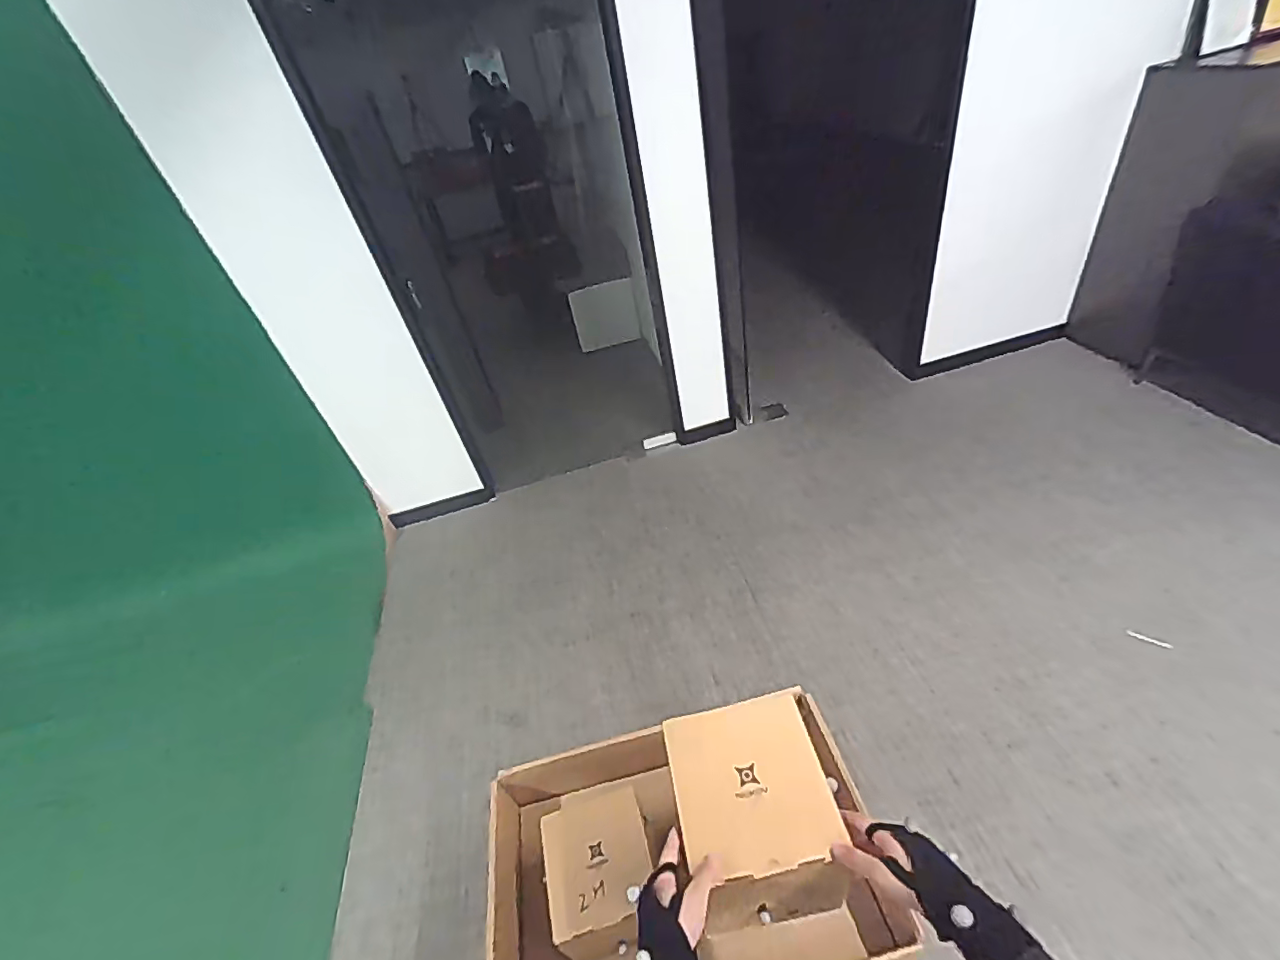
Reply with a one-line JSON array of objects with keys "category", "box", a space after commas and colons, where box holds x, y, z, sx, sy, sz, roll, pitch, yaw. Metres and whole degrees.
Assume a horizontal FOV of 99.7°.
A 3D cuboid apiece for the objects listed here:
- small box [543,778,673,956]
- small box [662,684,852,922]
[{"category": "small box", "box": [-0.053, 0.640, 0.897, 0.168, 0.176, 0.179, -17, 39, -5]}, {"category": "small box", "box": [0.126, 0.377, 0.636, 0.168, 0.176, 0.179, -12, 38, -1]}]
